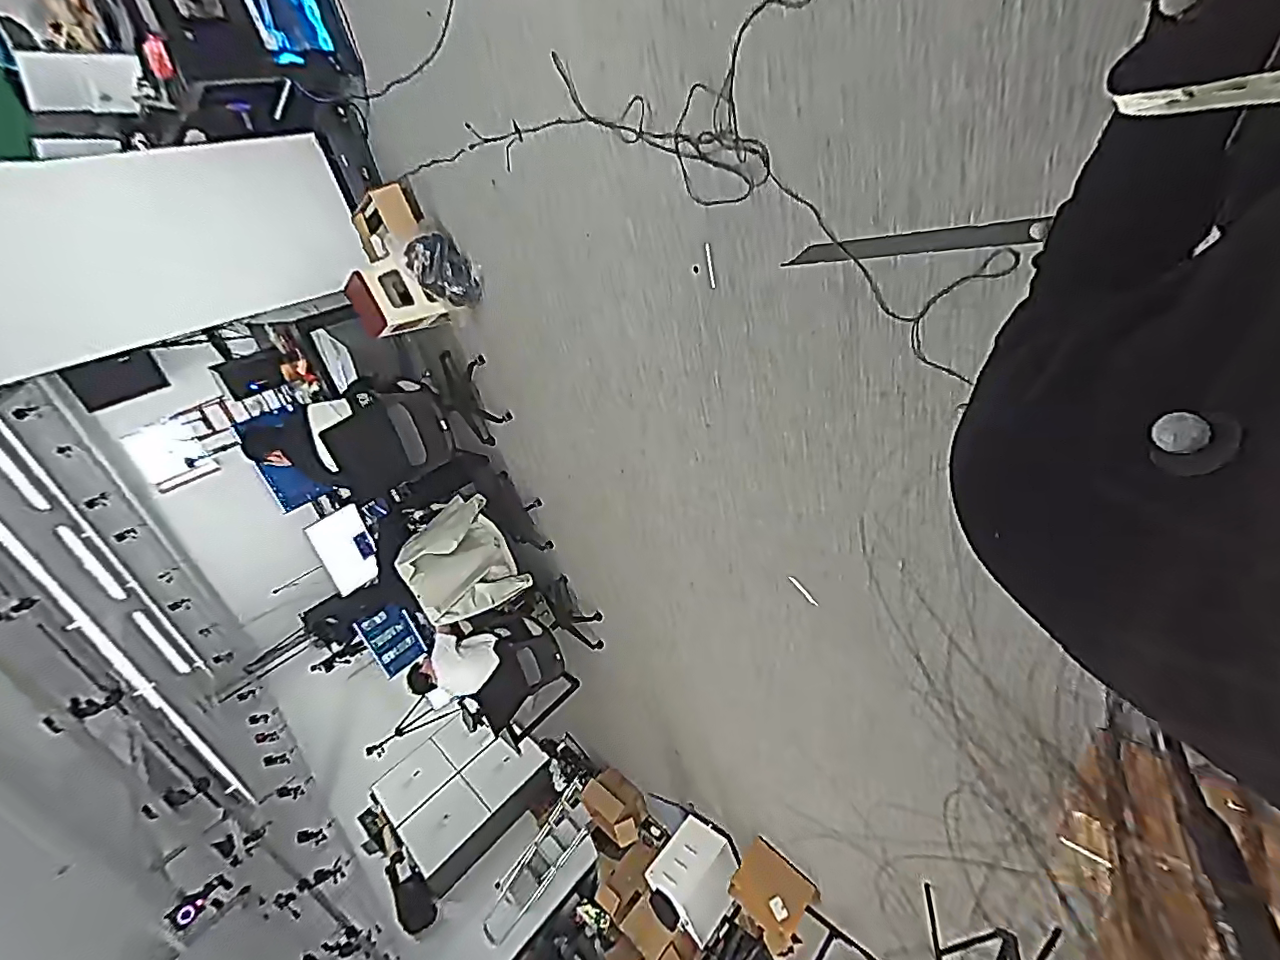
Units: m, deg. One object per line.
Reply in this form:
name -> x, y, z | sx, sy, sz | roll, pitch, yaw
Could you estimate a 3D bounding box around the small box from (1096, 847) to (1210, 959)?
small box -> 1.275, 1.072, 1.345 | 0.179, 0.176, 0.168 | 15, 129, 45
